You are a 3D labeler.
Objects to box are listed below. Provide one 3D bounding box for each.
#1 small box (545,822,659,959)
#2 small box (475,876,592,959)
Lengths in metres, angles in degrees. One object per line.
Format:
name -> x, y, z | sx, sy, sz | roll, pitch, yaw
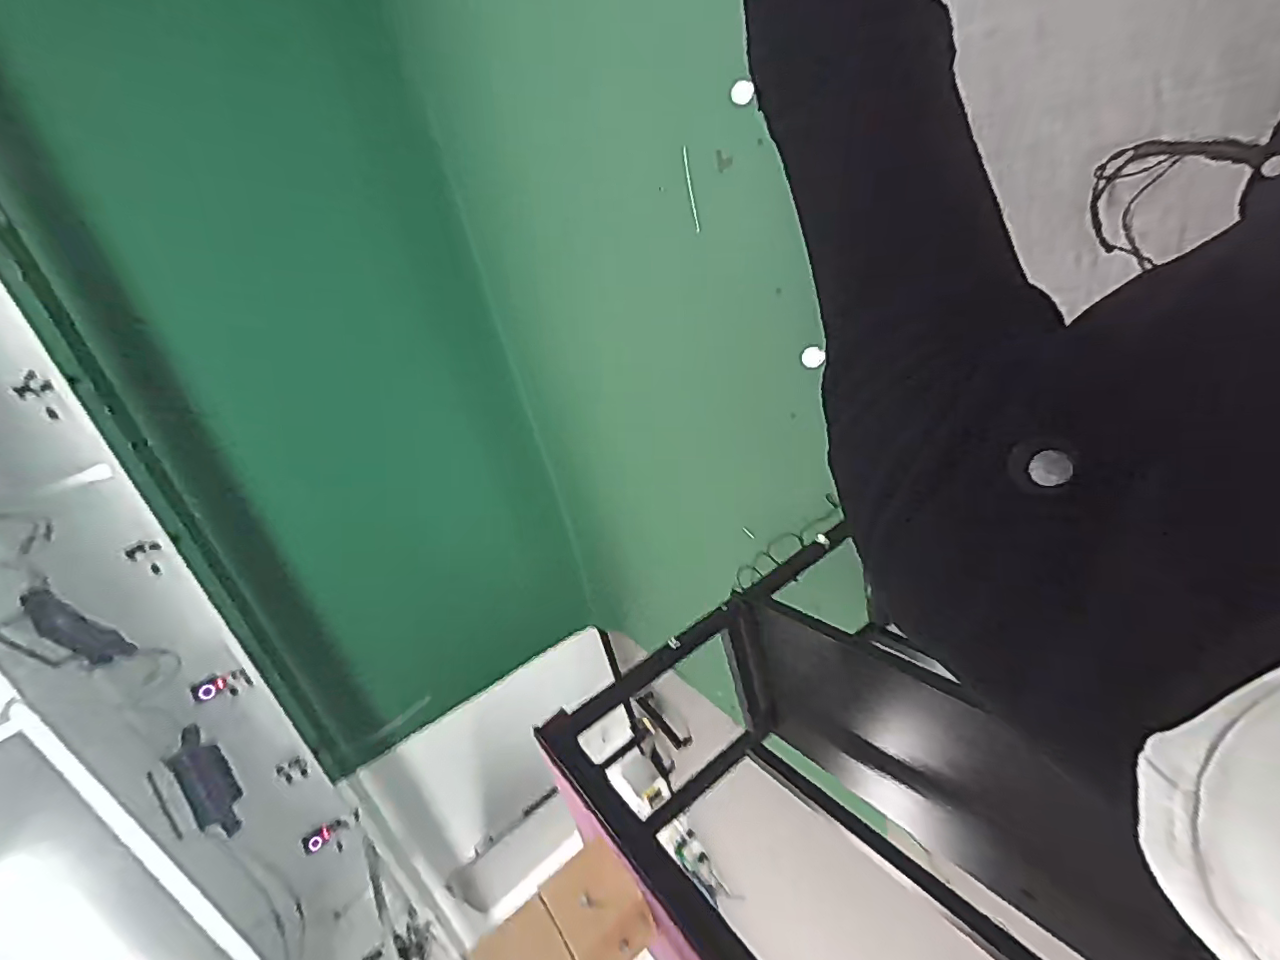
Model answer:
small box -> -0.073, 0.894, 1.163 | 0.179, 0.176, 0.168 | 21, 132, 52
small box -> -0.201, 0.963, 1.088 | 0.179, 0.176, 0.168 | 24, 134, 52
